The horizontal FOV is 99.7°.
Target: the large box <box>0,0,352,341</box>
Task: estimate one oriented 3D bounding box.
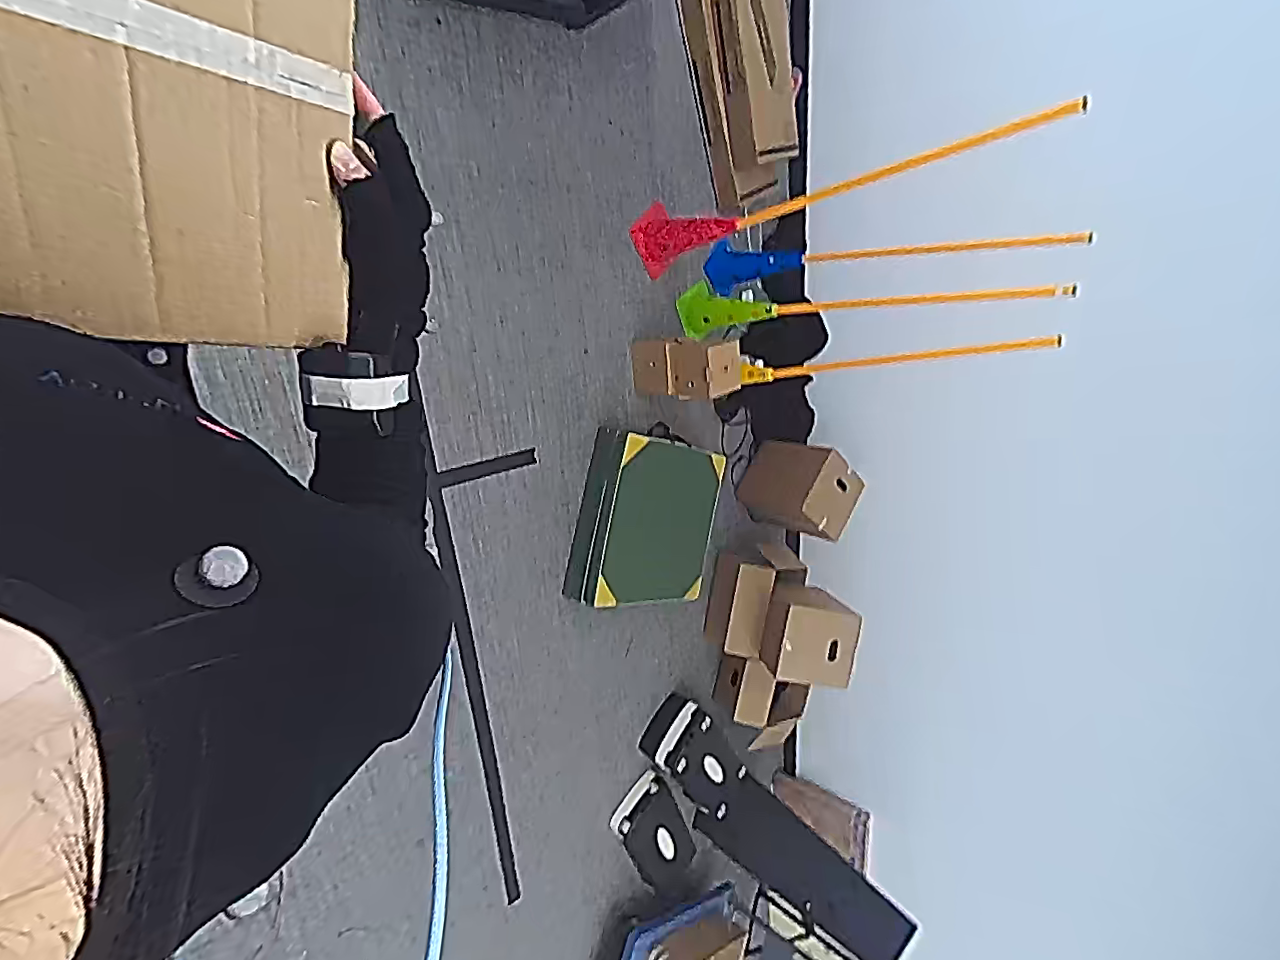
[{"bbox_3d":[-0.423,-0.283,0.300,0.408,0.320,0.320,-9,126,-42],"label":"large box"}]
